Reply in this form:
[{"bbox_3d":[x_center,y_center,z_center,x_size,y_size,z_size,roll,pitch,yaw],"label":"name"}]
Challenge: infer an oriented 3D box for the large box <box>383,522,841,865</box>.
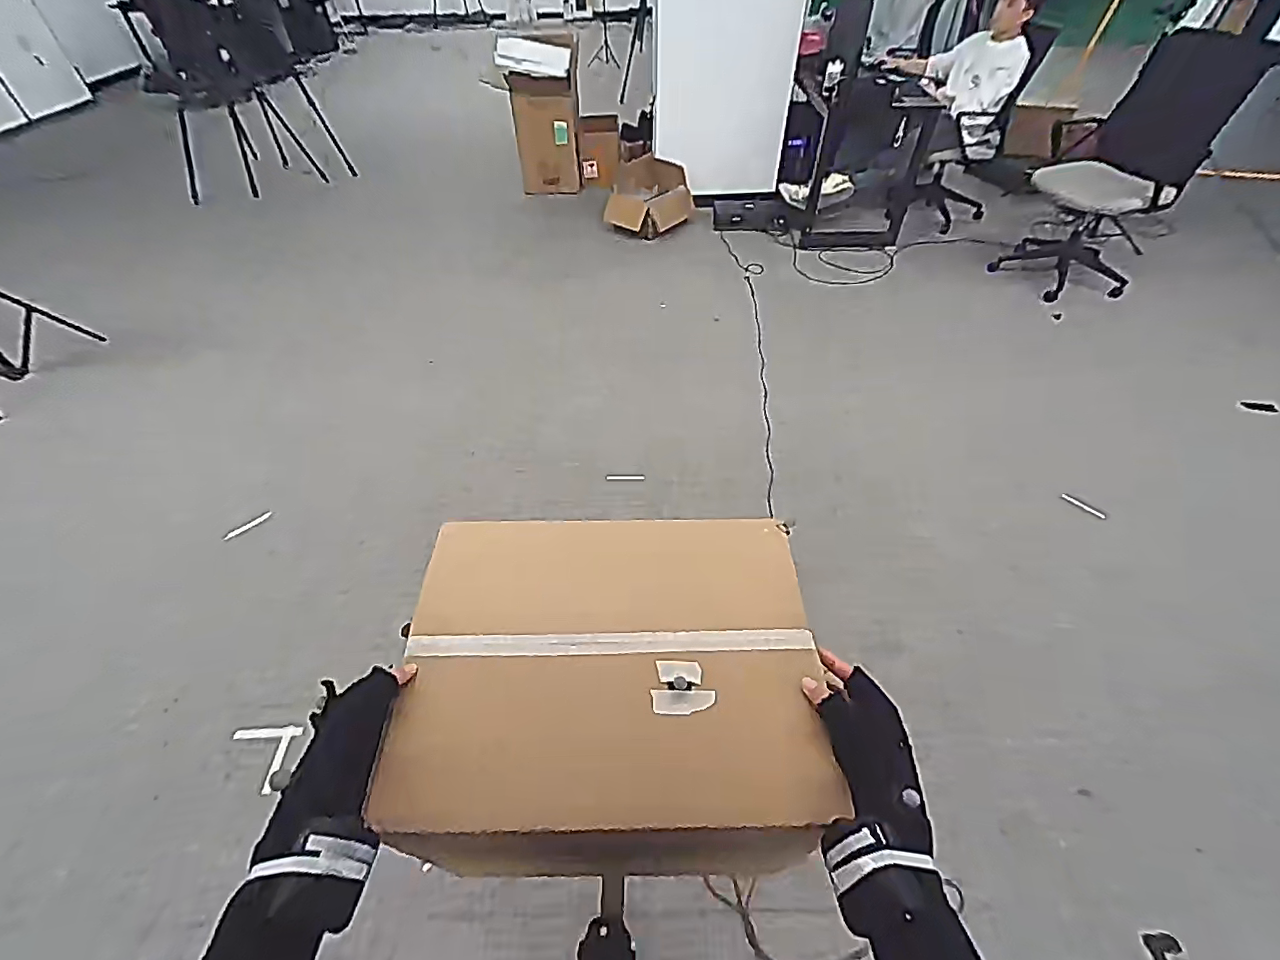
[{"bbox_3d":[-0.029,0.266,0.670,0.408,0.320,0.320,0,49,-1],"label":"large box"}]
